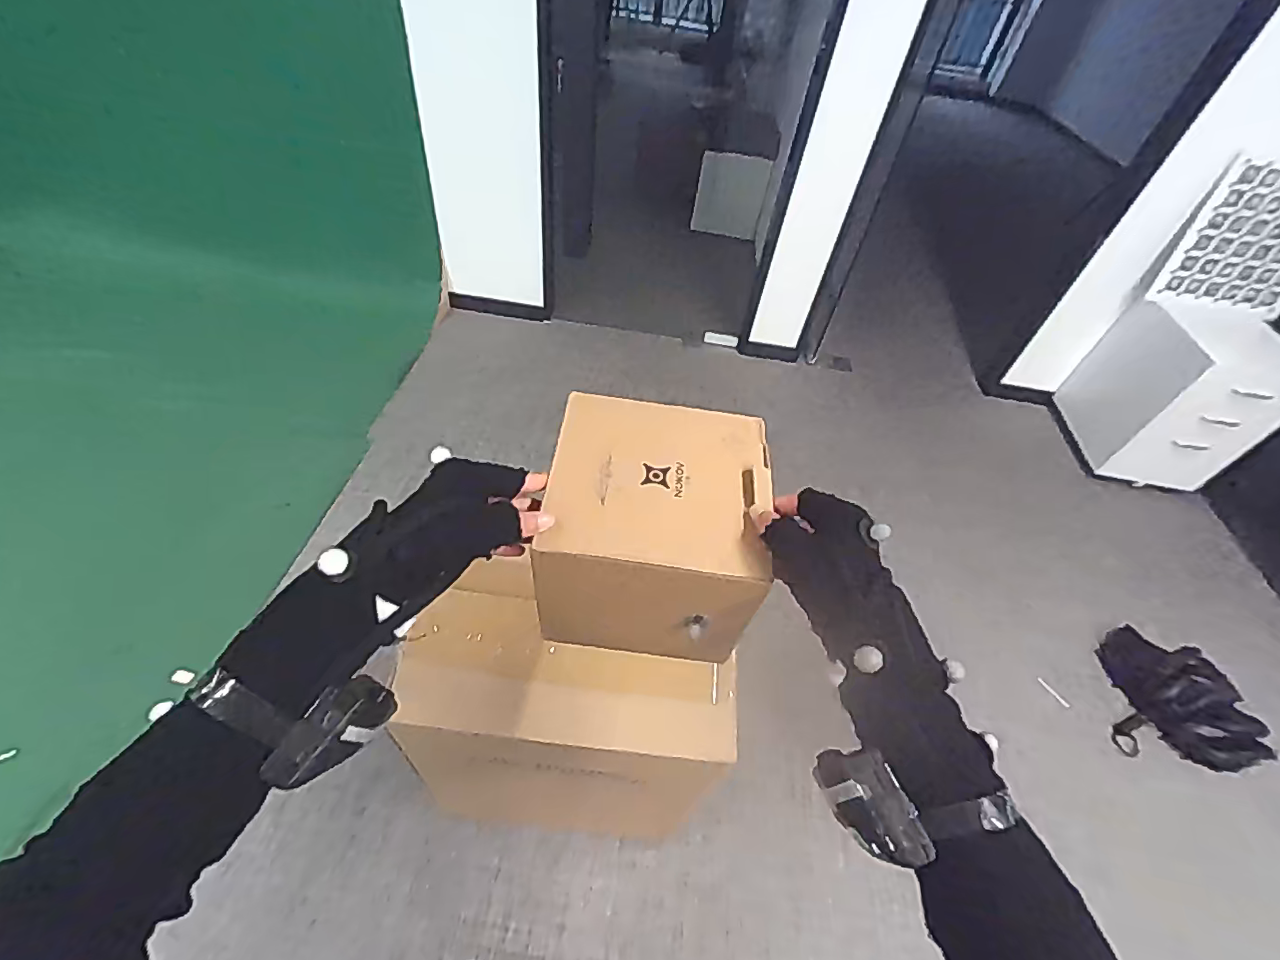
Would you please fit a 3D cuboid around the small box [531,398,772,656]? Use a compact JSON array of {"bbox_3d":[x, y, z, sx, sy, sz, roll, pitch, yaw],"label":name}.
[{"bbox_3d":[0.009,0.049,0.496,0.179,0.176,0.168,5,50,0],"label":"small box"}]
